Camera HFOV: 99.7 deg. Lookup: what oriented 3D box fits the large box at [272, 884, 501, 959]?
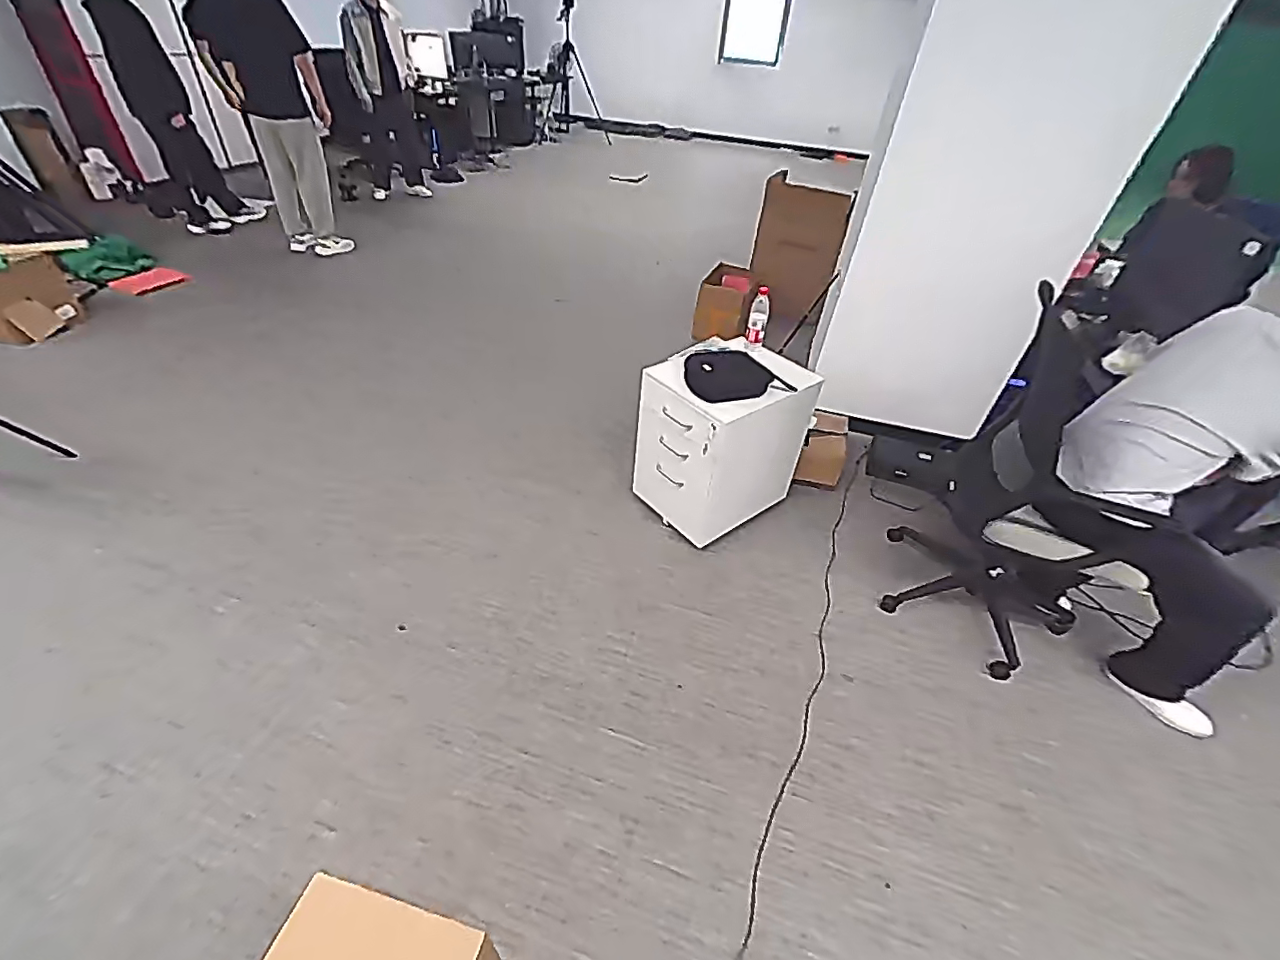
[{"bbox_3d":[-0.444,0.936,0.901,0.320,0.408,0.320,14,42,8],"label":"large box"}]
